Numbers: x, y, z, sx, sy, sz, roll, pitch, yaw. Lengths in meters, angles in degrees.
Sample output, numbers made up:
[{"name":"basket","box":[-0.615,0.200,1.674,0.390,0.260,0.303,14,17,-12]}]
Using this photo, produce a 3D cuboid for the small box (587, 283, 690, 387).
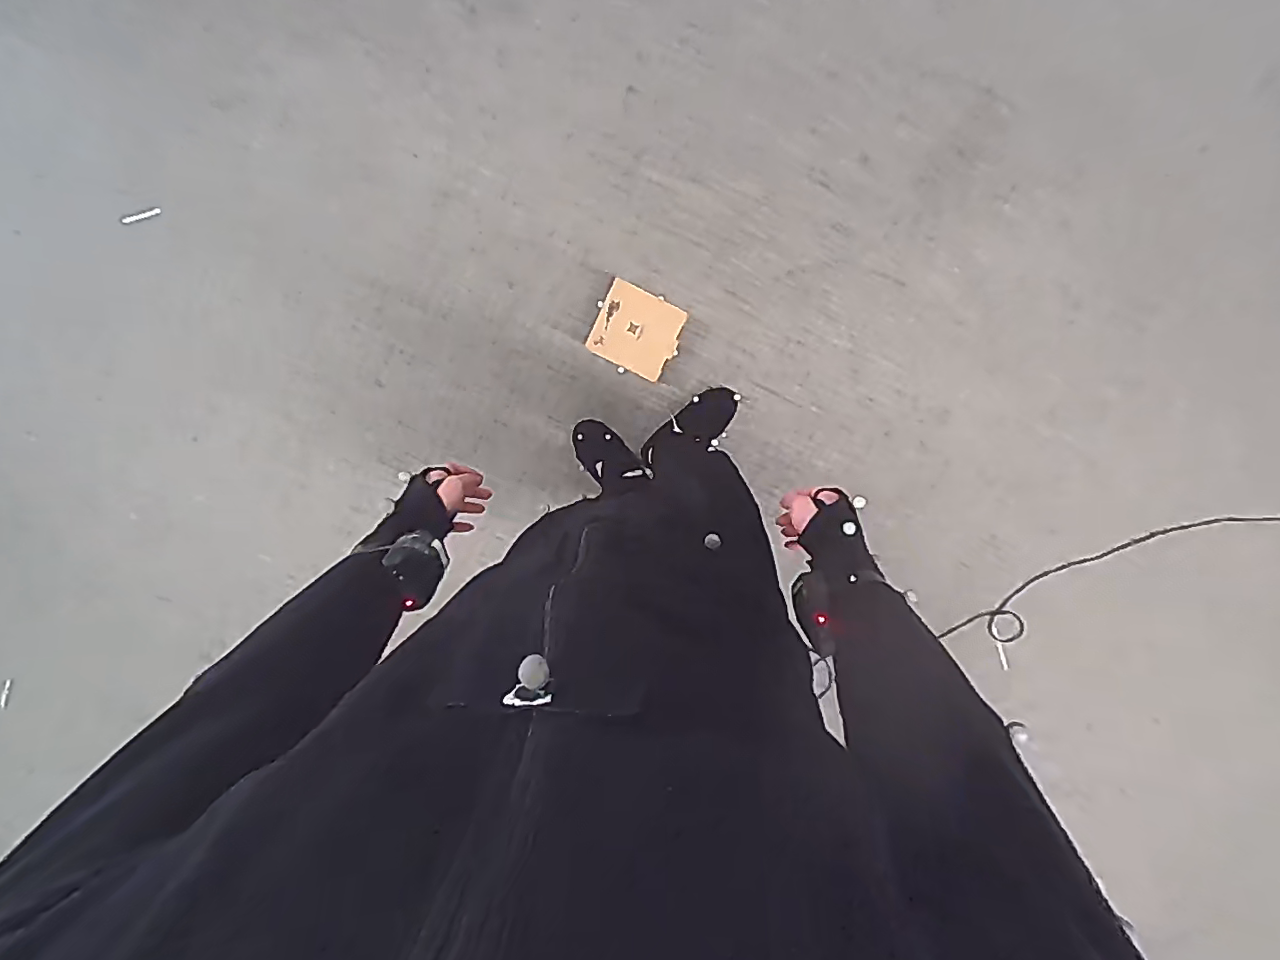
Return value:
[{"name":"small box","box":[-0.003,-0.327,1.239,0.179,0.176,0.168,25,100,-4]}]
